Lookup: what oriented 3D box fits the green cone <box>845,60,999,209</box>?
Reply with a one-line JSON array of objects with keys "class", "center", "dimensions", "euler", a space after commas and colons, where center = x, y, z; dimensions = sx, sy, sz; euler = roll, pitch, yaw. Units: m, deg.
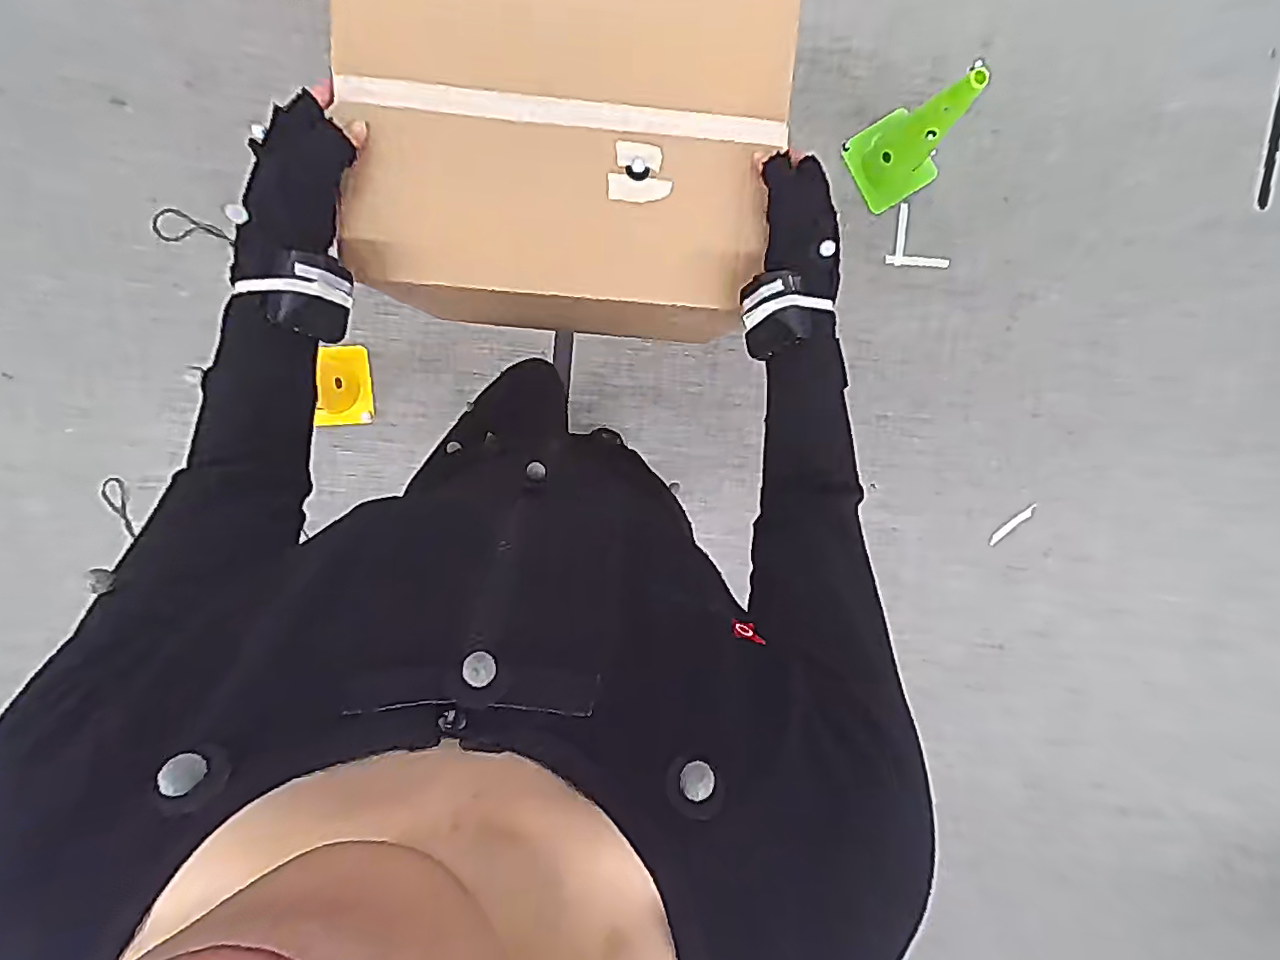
[{"class": "green cone", "center": [0.662, -0.812, 1.227], "dimensions": [0.202, 0.368, 0.200], "euler": [-33, 98, 0]}]

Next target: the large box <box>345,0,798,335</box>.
[{"class": "large box", "center": [-0.074, -0.356, 0.637], "dimensions": [0.408, 0.320, 0.320], "euler": [3, 99, -5]}]
